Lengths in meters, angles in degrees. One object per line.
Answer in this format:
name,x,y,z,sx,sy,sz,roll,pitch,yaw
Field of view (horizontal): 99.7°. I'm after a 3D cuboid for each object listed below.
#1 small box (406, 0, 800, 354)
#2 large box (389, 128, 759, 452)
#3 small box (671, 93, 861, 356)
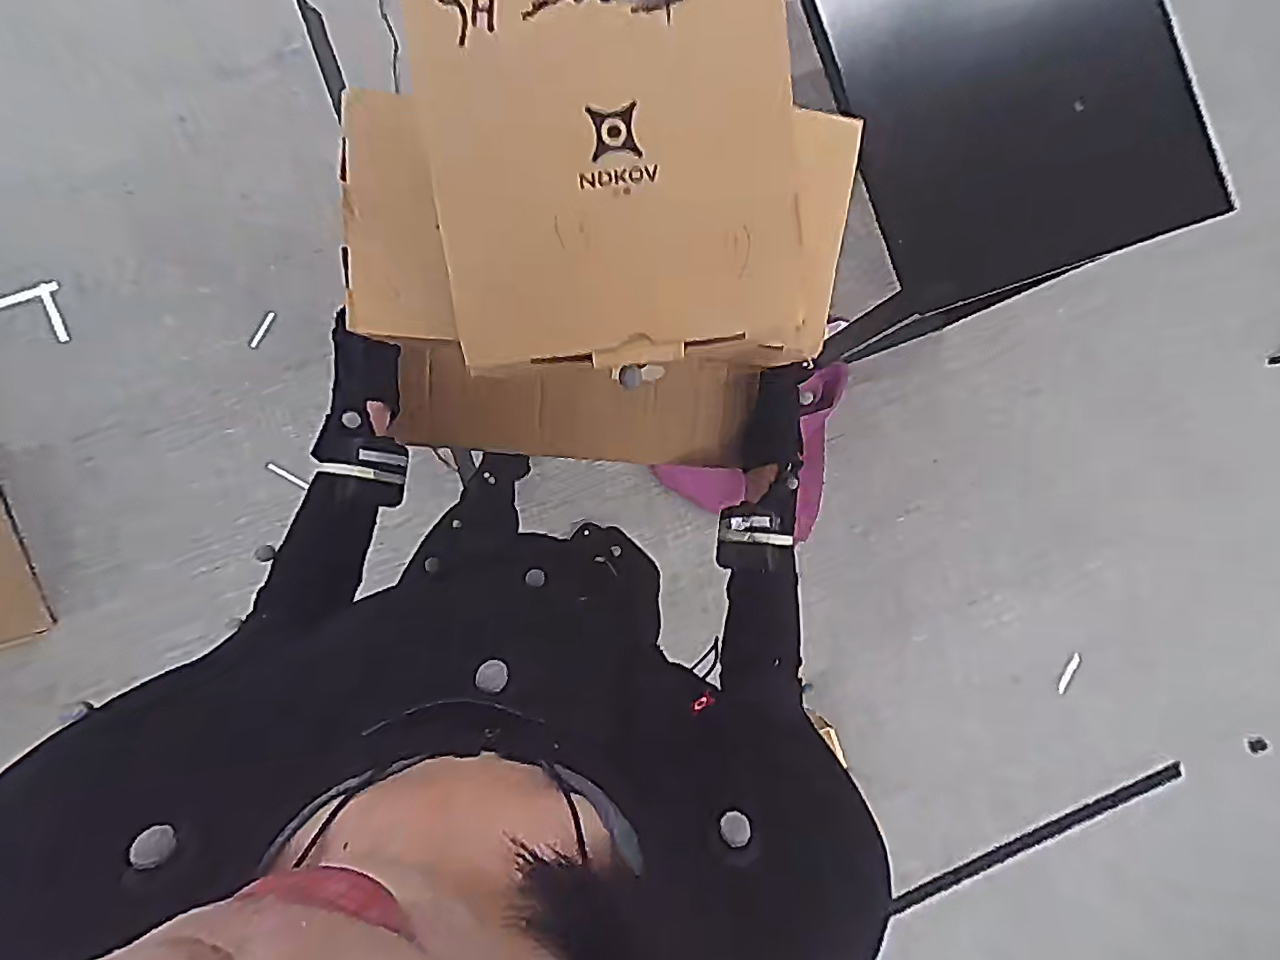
small box,-0.017,-0.171,0.320,0.168,0.176,0.179,-8,100,-3
large box,-0.077,-0.211,0.722,0.408,0.320,0.320,3,98,-6
small box,0.067,-0.215,0.486,0.168,0.176,0.179,8,96,-5
